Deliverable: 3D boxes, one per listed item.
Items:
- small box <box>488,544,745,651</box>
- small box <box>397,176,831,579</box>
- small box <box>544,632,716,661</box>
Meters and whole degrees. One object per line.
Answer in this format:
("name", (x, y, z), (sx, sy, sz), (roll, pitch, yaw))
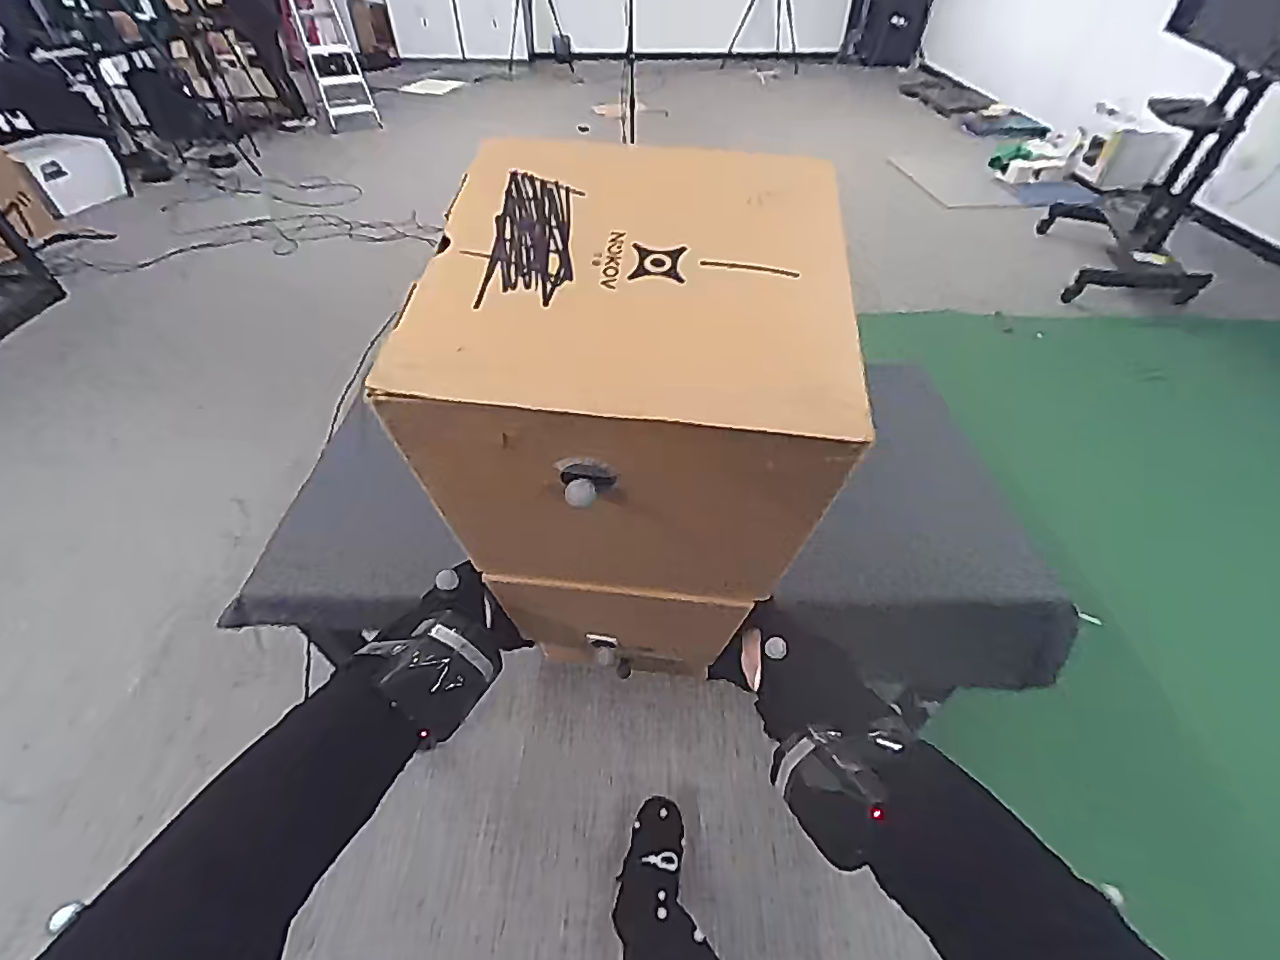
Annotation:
("small box", (-0.009, 0.027, 0.447), (0.168, 0.176, 0.179), (6, 60, 2))
("small box", (-0.005, -0.047, 0.319), (0.179, 0.176, 0.168), (6, 60, 2))
("small box", (-0.010, 0.095, 0.596), (0.179, 0.176, 0.168), (6, 59, 1))
